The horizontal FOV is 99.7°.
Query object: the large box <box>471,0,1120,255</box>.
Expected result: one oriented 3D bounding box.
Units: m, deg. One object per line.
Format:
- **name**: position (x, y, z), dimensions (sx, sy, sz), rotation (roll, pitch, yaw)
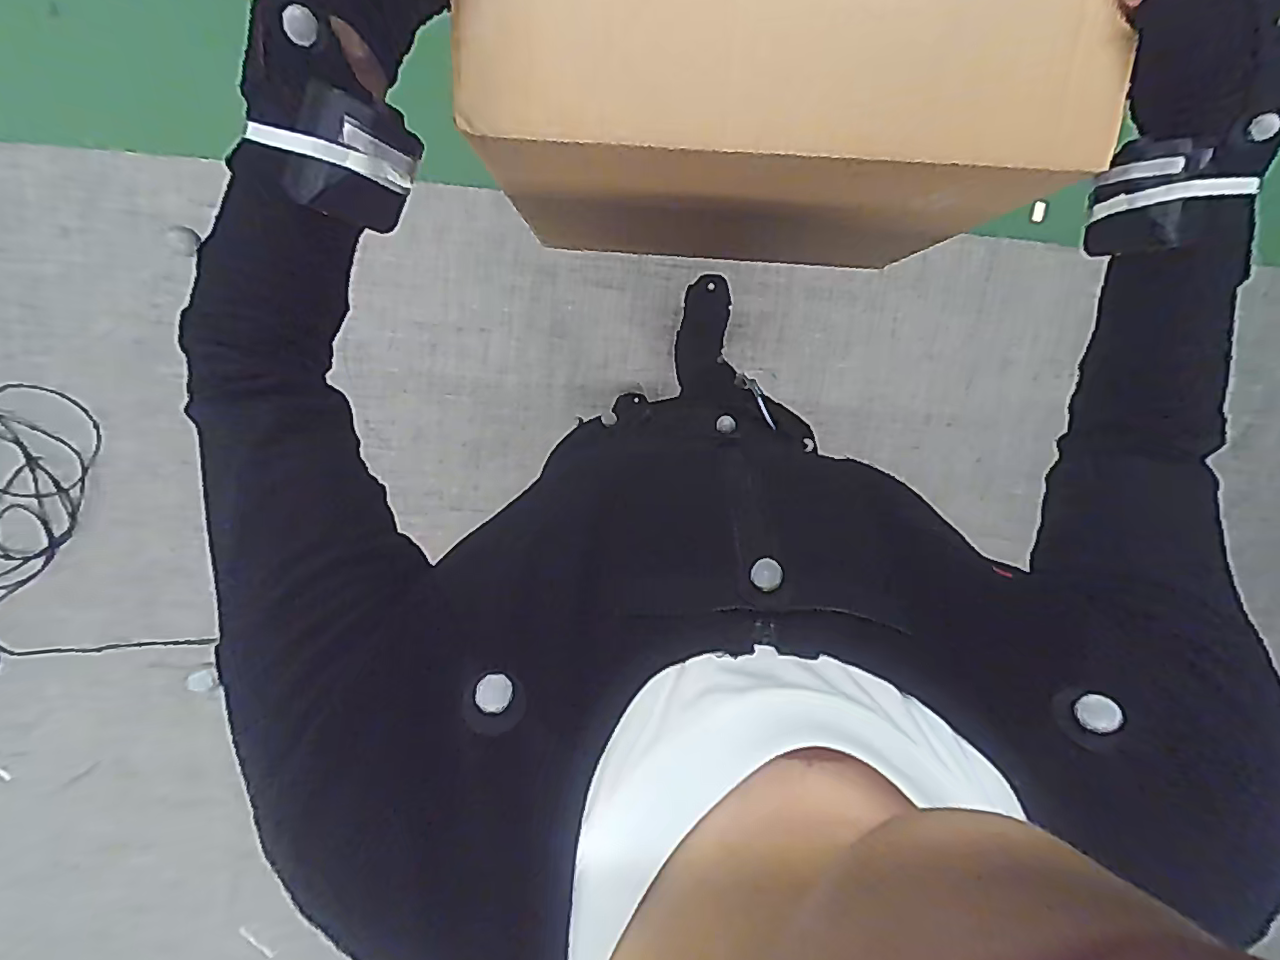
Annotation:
- **large box**: position (0.094, -0.391, 0.462), dimensions (0.408, 0.320, 0.320), rotation (2, 102, -1)
